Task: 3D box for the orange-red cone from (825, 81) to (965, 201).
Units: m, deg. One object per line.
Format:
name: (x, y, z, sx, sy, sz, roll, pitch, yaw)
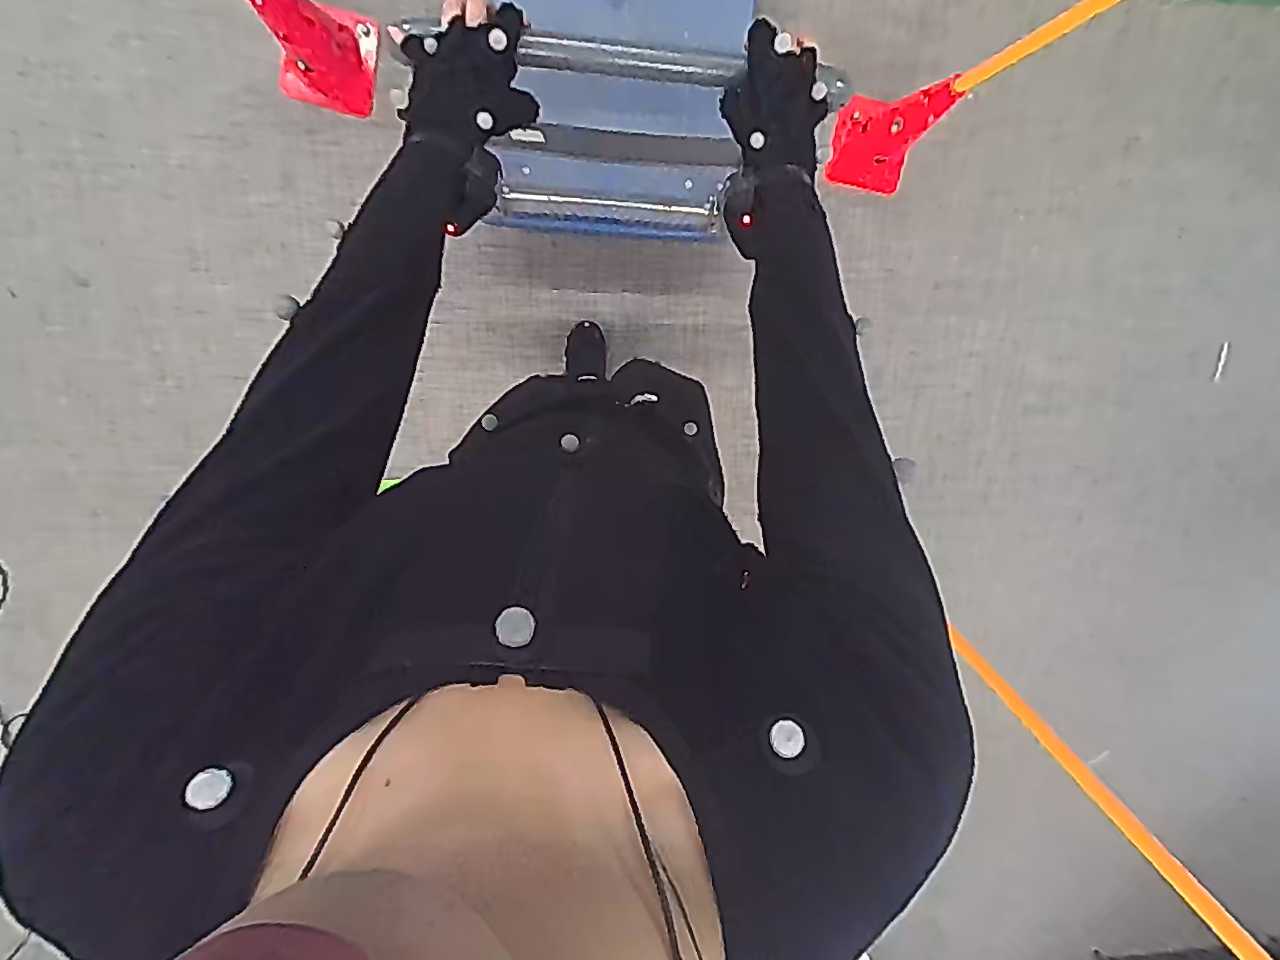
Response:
orange-red cone: (0.591, -0.781, 1.198, 0.198, 0.360, 0.199, 10, 104, -7)
